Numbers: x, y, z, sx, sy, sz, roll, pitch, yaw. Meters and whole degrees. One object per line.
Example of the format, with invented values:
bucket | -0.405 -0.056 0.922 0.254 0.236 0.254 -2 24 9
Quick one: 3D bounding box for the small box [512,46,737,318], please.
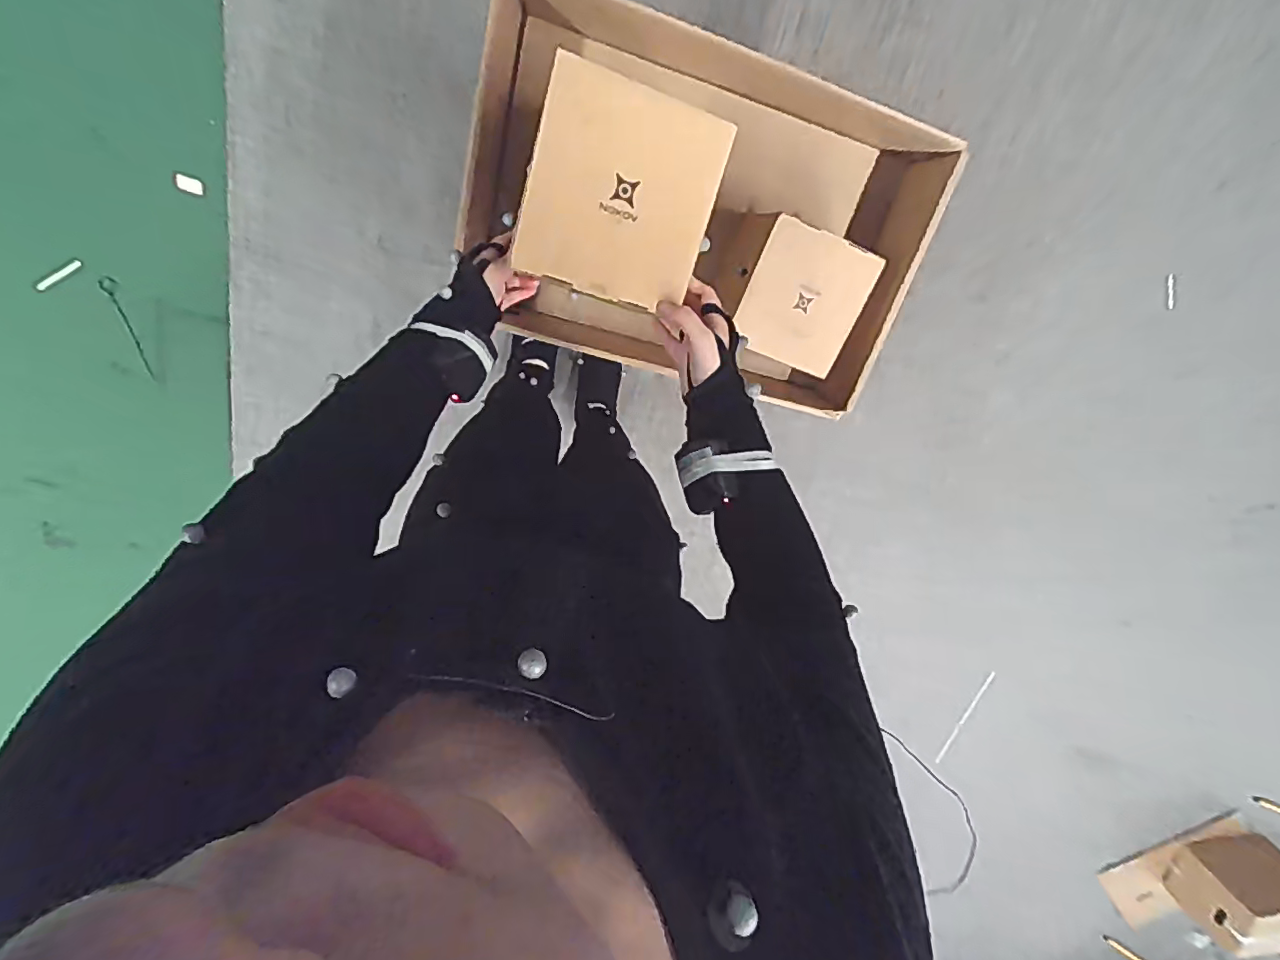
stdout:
small box | -0.029 -0.283 0.555 0.168 0.176 0.179 14 108 -15
